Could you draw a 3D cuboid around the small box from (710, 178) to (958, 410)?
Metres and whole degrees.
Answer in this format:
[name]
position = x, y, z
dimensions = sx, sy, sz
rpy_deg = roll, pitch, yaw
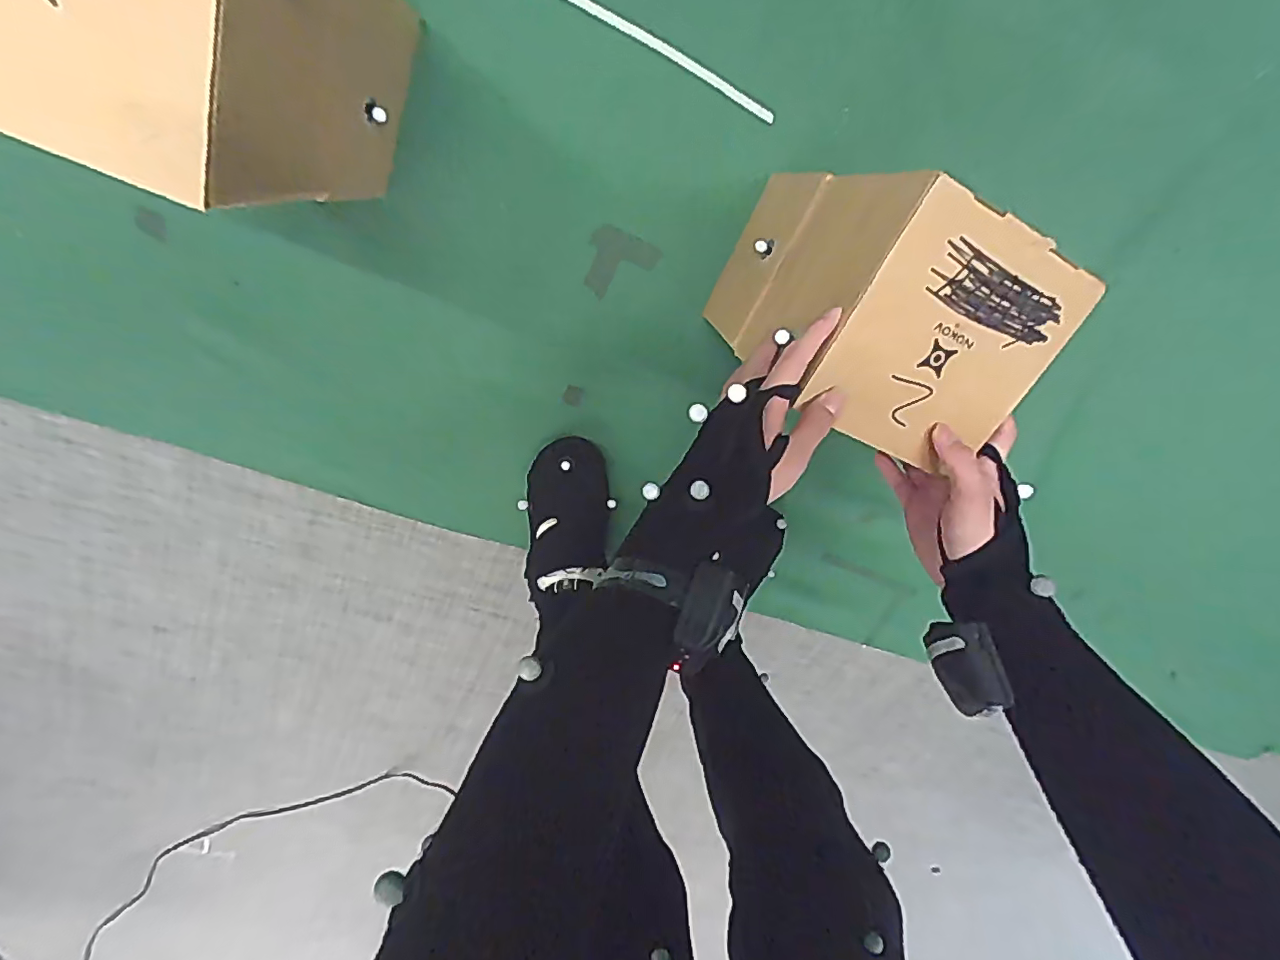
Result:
[small box]
position = 0.196, -0.212, 0.608
dimensions = 0.168, 0.176, 0.179
rpy_deg = 21, 115, -16
